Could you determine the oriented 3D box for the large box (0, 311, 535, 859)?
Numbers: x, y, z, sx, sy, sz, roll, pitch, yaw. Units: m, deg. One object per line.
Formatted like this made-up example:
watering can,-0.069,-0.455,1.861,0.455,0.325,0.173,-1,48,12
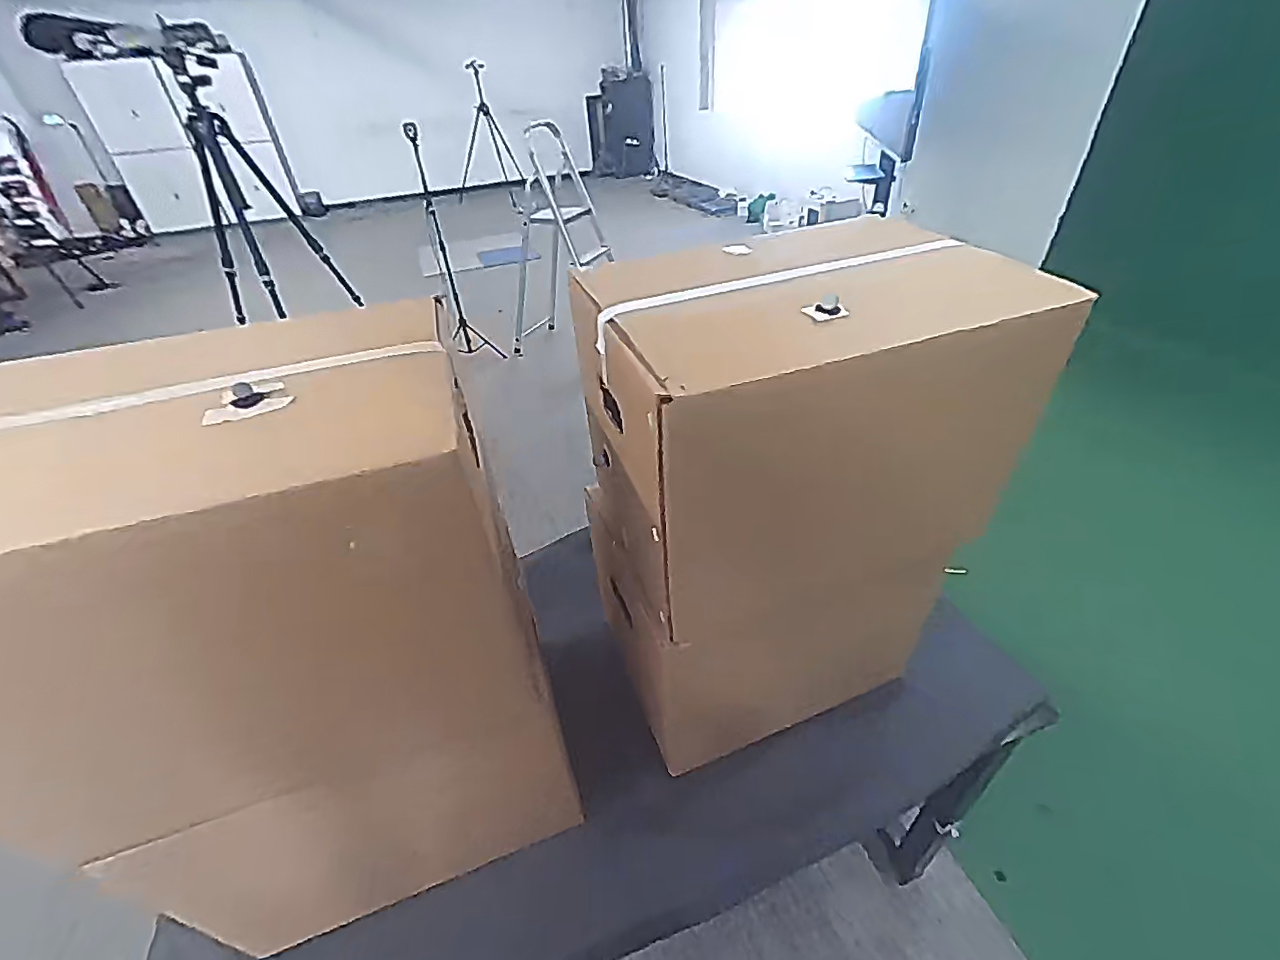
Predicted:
large box,-0.342,0.065,0.512,0.408,0.320,0.320,-13,40,-14
